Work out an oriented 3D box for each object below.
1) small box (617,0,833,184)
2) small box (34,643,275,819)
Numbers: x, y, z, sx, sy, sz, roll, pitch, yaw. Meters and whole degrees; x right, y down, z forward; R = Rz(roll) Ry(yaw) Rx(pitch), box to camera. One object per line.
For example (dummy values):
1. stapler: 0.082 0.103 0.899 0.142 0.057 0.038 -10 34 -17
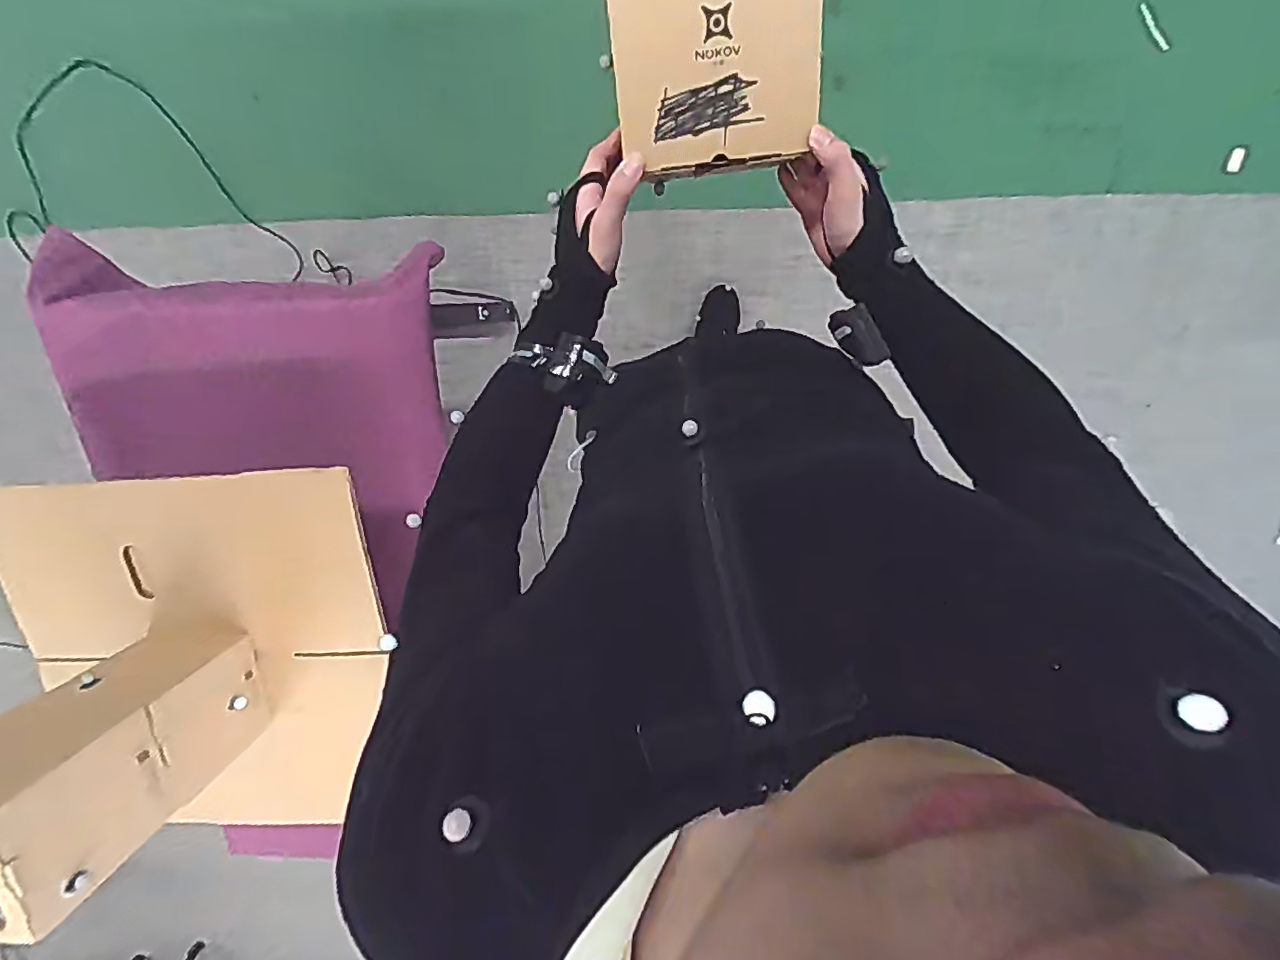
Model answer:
1. small box: 0.069 -0.377 0.493 0.168 0.176 0.179 -6 116 3
2. small box: -0.681 0.351 0.782 0.179 0.176 0.168 -2 105 5
